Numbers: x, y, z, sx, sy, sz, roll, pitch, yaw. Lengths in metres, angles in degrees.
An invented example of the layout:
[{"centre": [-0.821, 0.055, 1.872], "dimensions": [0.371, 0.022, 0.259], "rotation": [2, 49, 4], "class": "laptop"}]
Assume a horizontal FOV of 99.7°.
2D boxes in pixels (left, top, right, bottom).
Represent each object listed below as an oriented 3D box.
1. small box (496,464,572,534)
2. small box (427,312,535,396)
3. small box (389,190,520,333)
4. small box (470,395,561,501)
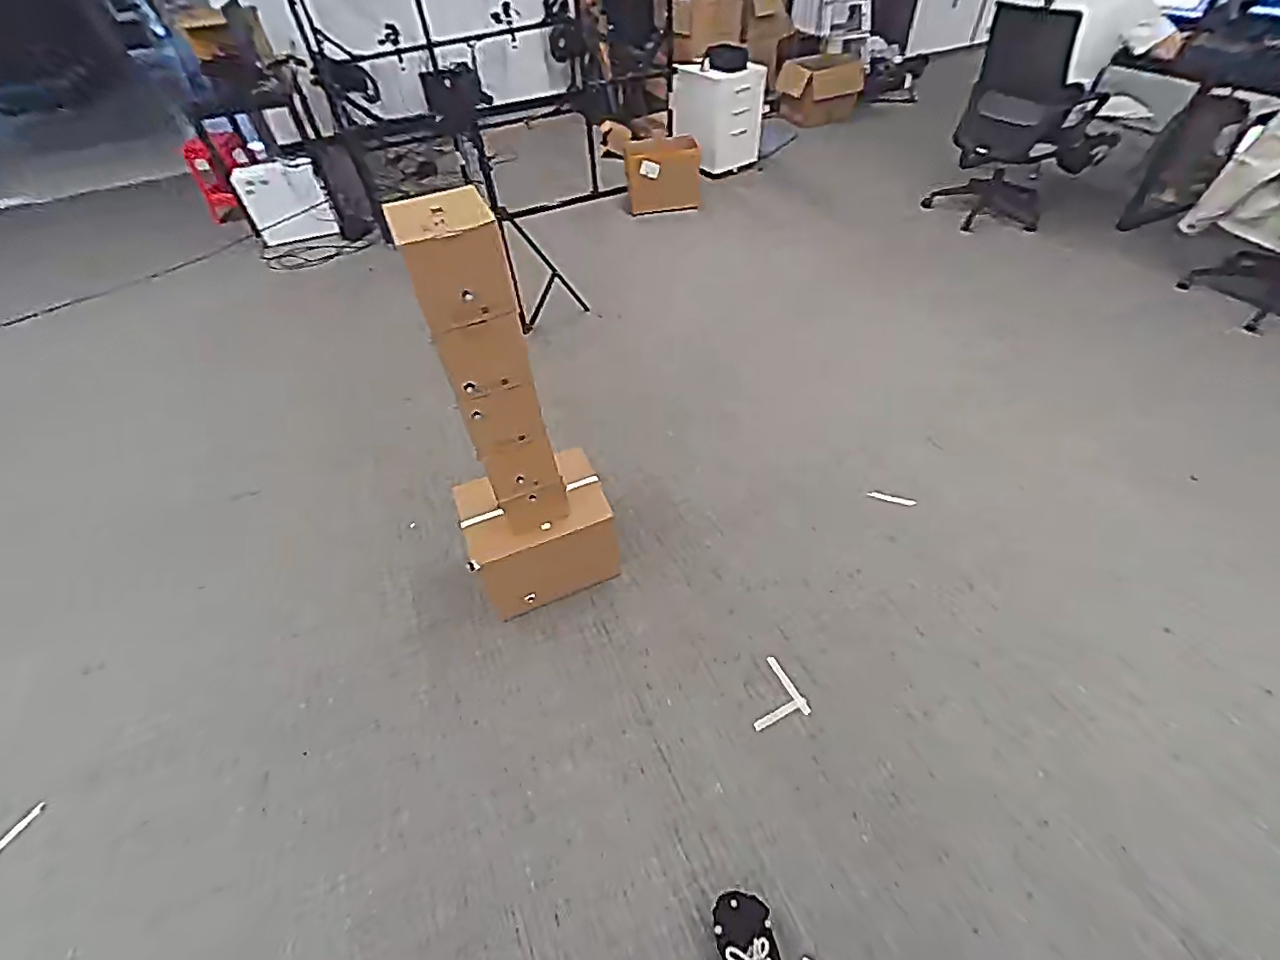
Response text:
[{"centre": [-0.302, 0.021, 1.490], "dimensions": [0.179, 0.176, 0.168], "rotation": [-21, 51, -15], "class": "small box"}, {"centre": [-0.327, -0.291, 1.113], "dimensions": [0.168, 0.176, 0.179], "rotation": [-19, 50, -12], "class": "small box"}, {"centre": [-0.335, -0.398, 0.987], "dimensions": [0.168, 0.176, 0.179], "rotation": [-21, 52, -13], "class": "small box"}, {"centre": [-0.312, -0.079, 1.363], "dimensions": [0.168, 0.176, 0.179], "rotation": [-21, 52, -13], "class": "small box"}]
